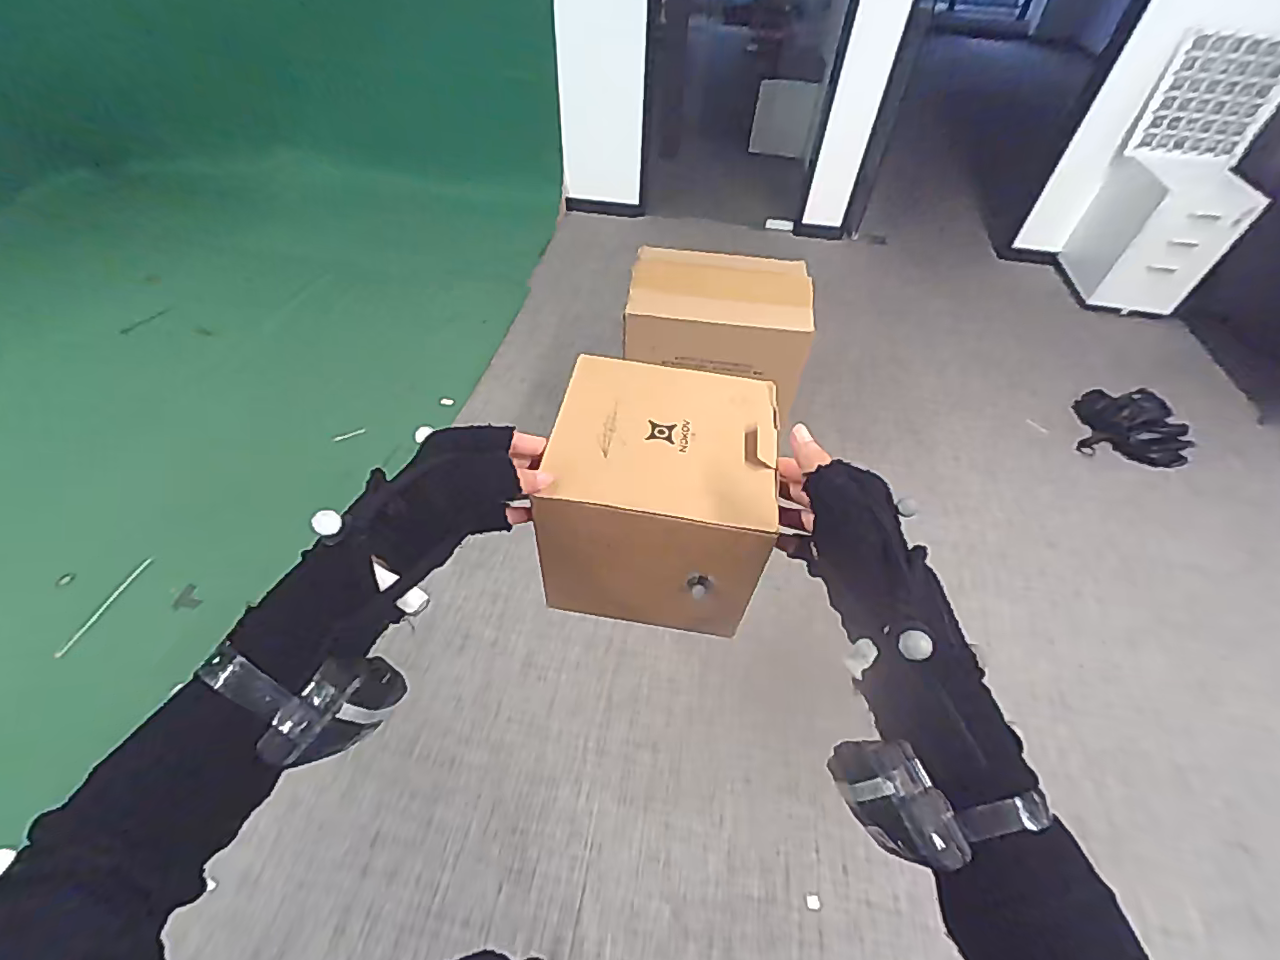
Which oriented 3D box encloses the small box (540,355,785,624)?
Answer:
[{"bbox_3d":[0.021,0.013,0.488,0.179,0.176,0.168,8,49,3],"label":"small box"}]
